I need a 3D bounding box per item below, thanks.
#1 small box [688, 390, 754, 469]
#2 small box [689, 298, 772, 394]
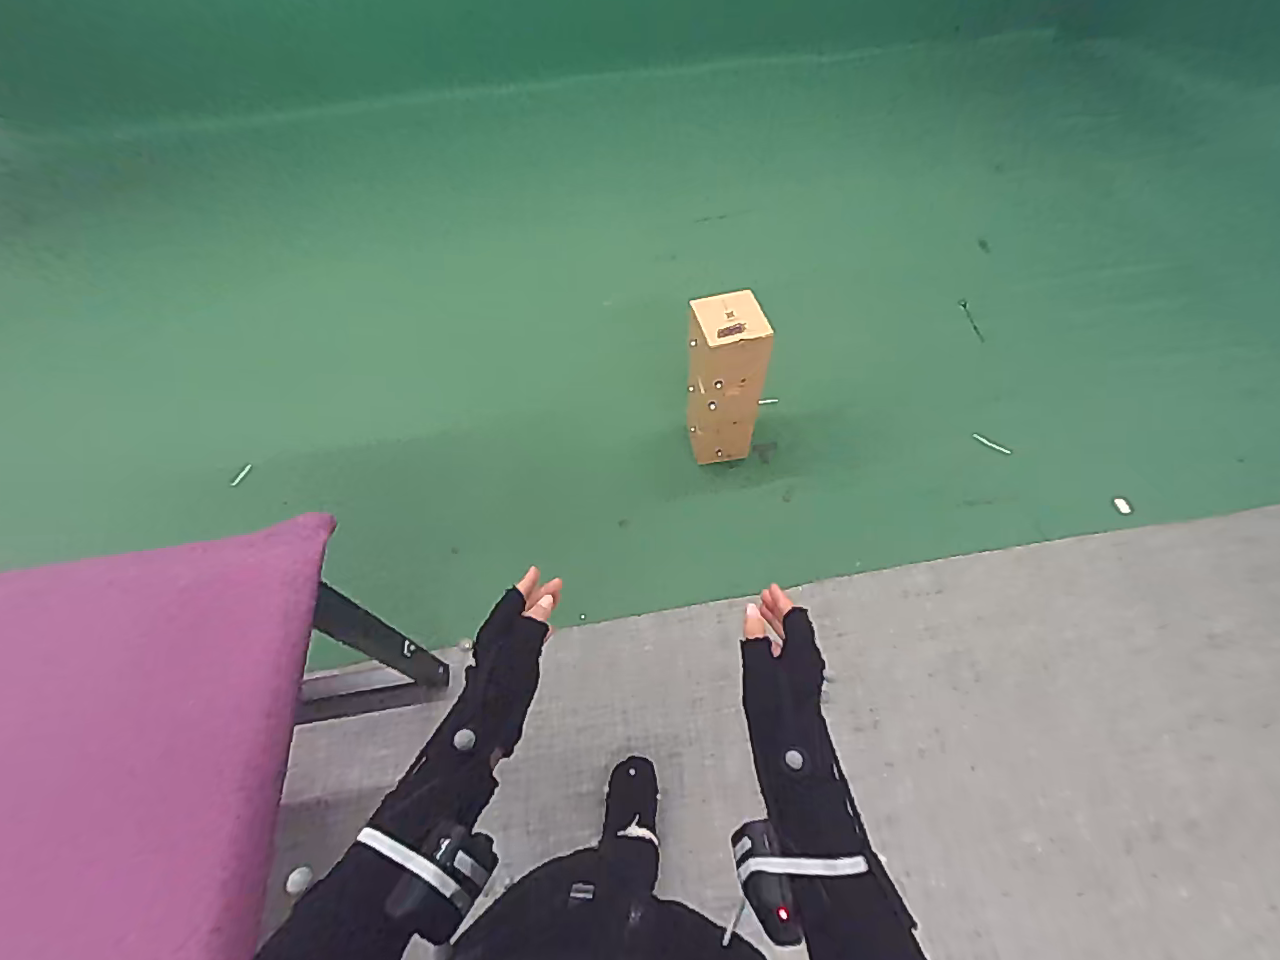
[{"bbox_3d":[0.247,-0.156,1.691,0.168,0.176,0.179,-8,58,-2],"label":"small box"},{"bbox_3d":[0.230,-0.344,1.421,0.168,0.176,0.179,-13,57,-6],"label":"small box"}]
